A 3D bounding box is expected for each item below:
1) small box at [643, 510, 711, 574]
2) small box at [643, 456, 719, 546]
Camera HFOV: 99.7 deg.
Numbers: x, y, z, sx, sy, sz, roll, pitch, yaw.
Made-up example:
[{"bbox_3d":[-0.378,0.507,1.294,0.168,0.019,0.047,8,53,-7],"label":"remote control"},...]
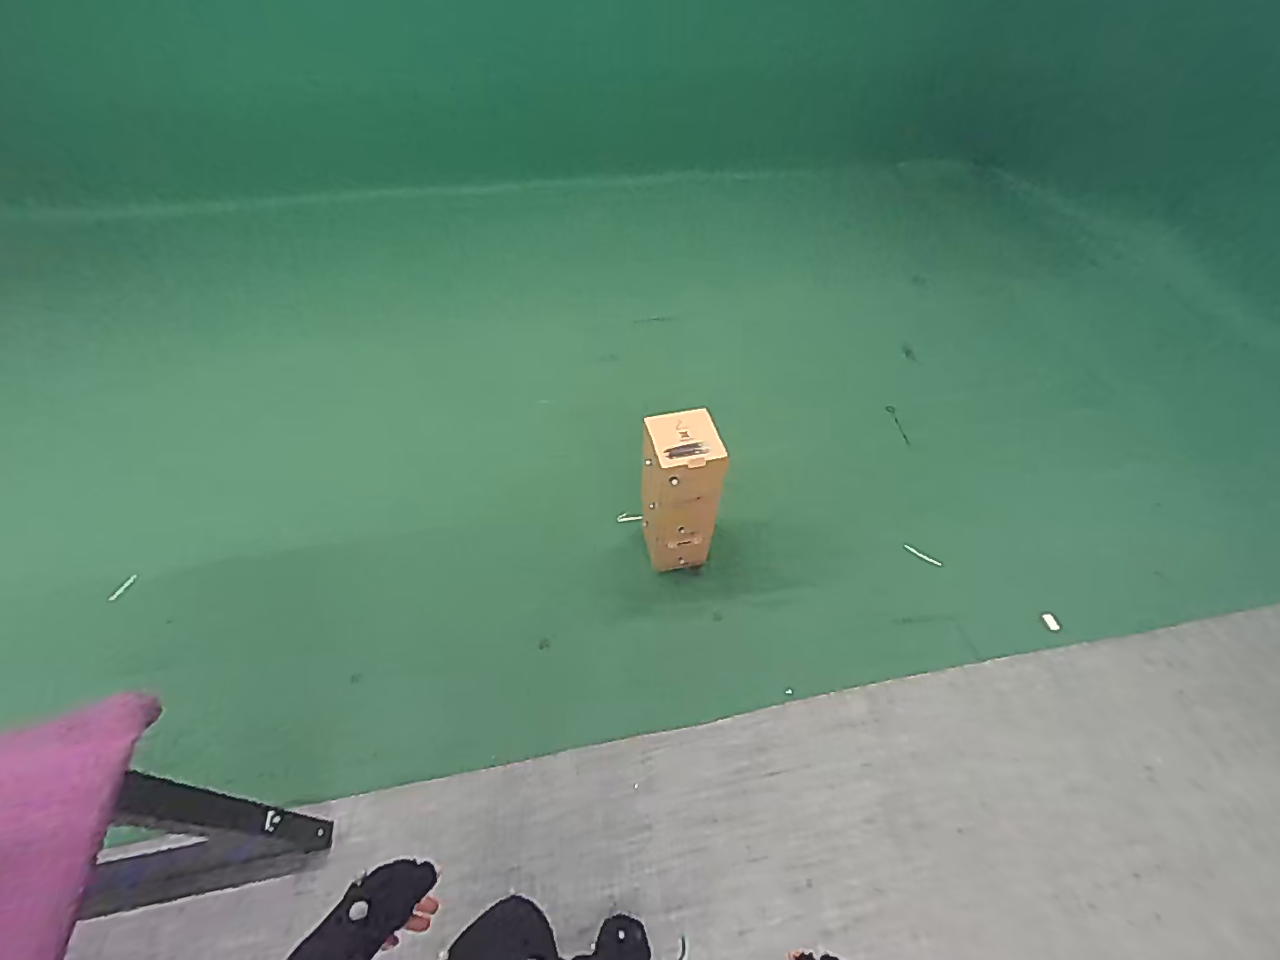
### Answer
[{"bbox_3d":[0.105,0.161,1.643,0.168,0.176,0.179,-9,52,-8],"label":"small box"},{"bbox_3d":[0.106,0.059,1.516,0.168,0.176,0.179,-10,53,-10],"label":"small box"}]
